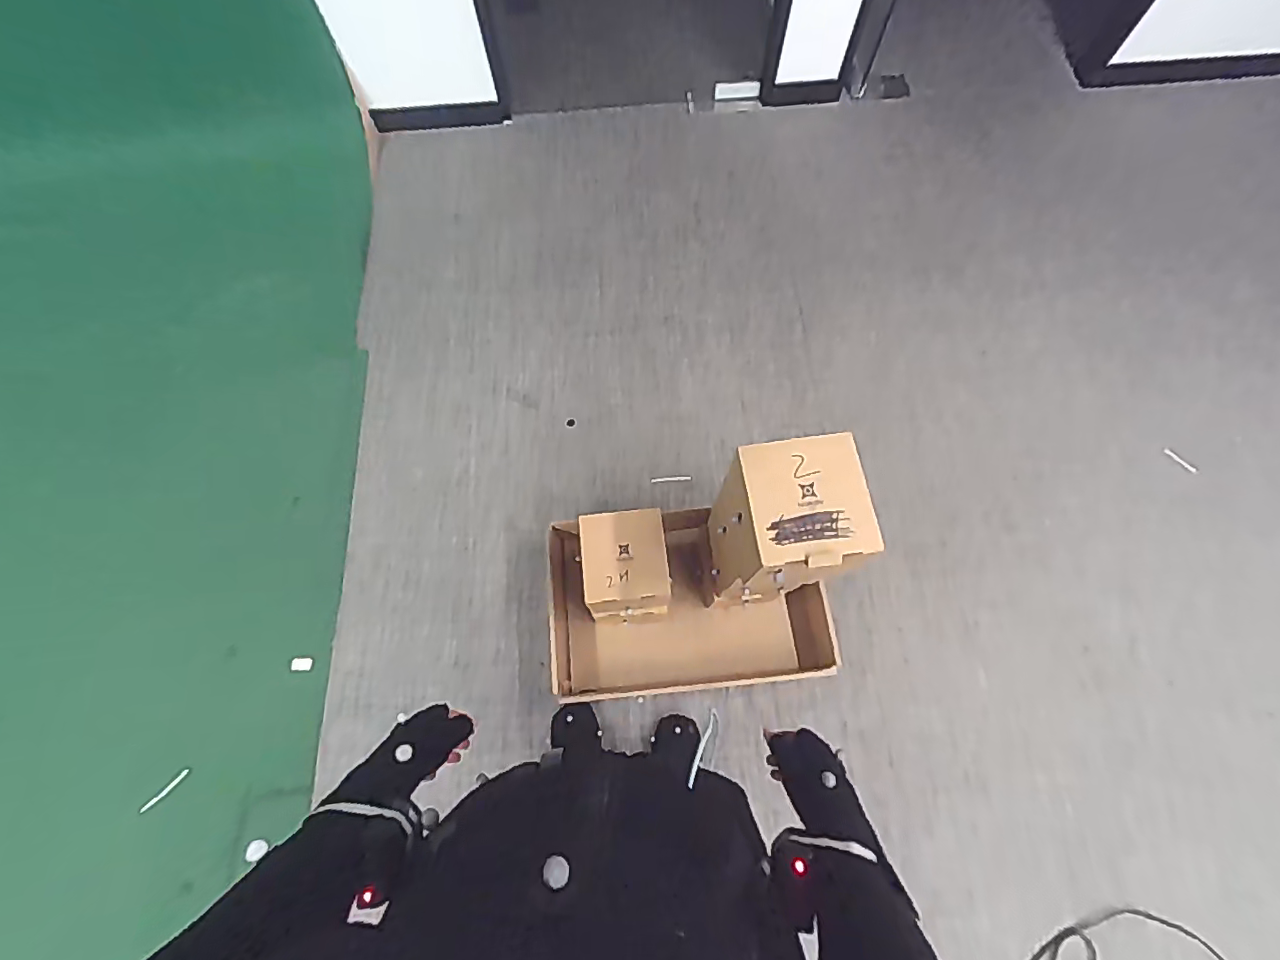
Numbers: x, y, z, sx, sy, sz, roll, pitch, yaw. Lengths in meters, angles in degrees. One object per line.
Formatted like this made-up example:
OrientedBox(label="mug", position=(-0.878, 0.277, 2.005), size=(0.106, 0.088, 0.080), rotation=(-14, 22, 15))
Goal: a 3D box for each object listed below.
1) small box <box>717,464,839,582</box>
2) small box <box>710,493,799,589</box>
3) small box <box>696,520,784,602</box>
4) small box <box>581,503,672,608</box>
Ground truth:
OrientedBox(label="small box", position=(0.235, 0.084, 0.967), size=(0.168, 0.176, 0.179), rotation=(-4, 71, -1))
OrientedBox(label="small box", position=(0.240, 0.126, 1.108), size=(0.168, 0.176, 0.179), rotation=(-6, 71, 0))
OrientedBox(label="small box", position=(0.230, 0.187, 1.279), size=(0.168, 0.176, 0.179), rotation=(-10, 71, -1))
OrientedBox(label="small box", position=(-0.030, 0.159, 1.116), size=(0.168, 0.176, 0.179), rotation=(-6, 71, -2))
